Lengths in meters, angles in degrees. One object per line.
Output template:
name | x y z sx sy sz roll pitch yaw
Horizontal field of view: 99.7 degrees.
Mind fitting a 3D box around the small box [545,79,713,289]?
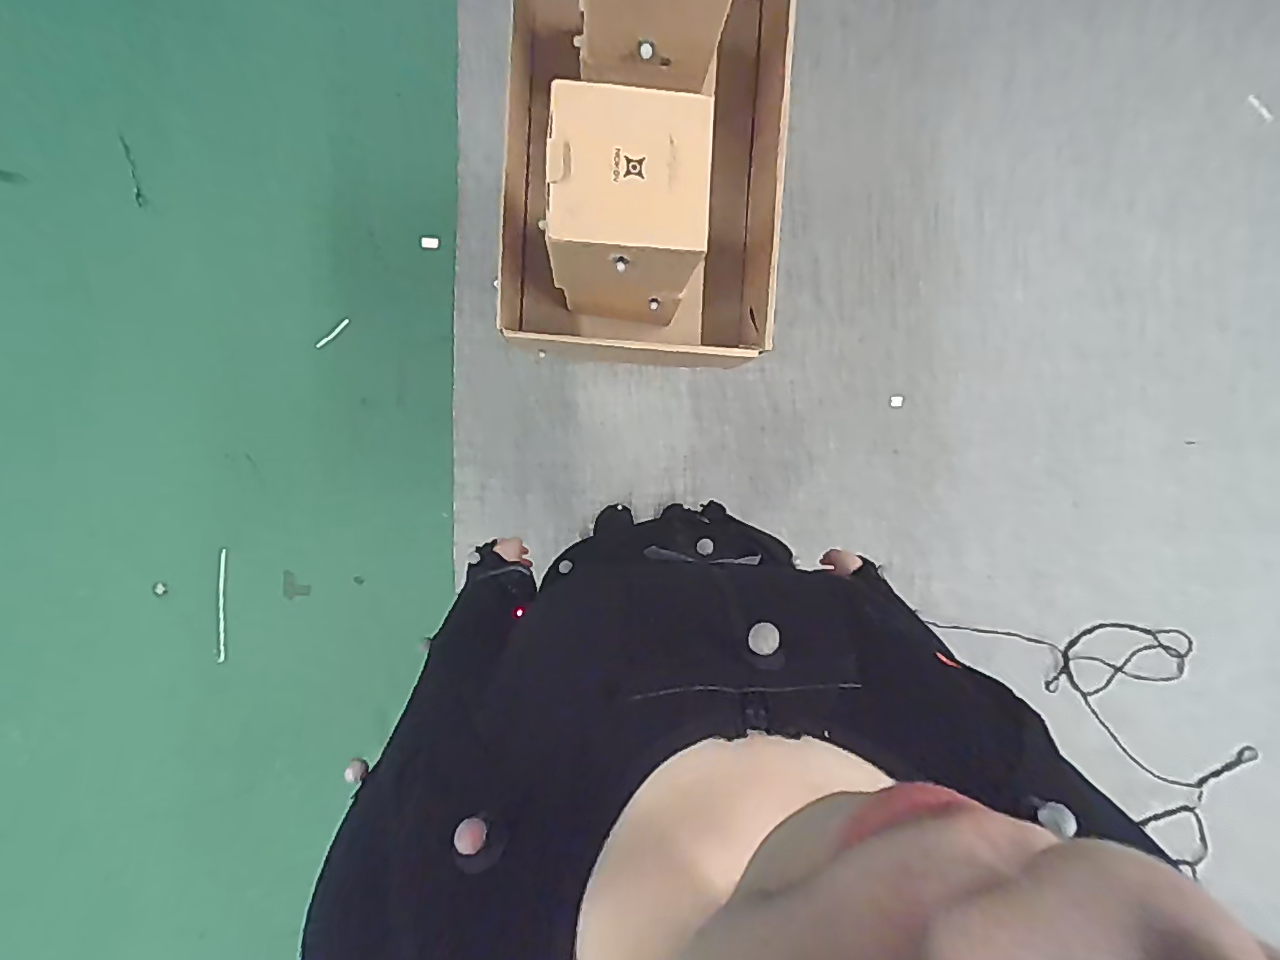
small box | -0.019 -0.341 0.656 0.179 0.176 0.168 2 94 -6

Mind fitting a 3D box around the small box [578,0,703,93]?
small box | 0.005 -0.648 0.798 0.179 0.176 0.168 4 95 -5

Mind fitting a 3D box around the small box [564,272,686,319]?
small box | -0.023 -0.353 0.818 0.179 0.176 0.168 6 92 -6

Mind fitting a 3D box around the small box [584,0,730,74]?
small box | 0.021 -0.631 0.635 0.168 0.176 0.179 3 95 -5
